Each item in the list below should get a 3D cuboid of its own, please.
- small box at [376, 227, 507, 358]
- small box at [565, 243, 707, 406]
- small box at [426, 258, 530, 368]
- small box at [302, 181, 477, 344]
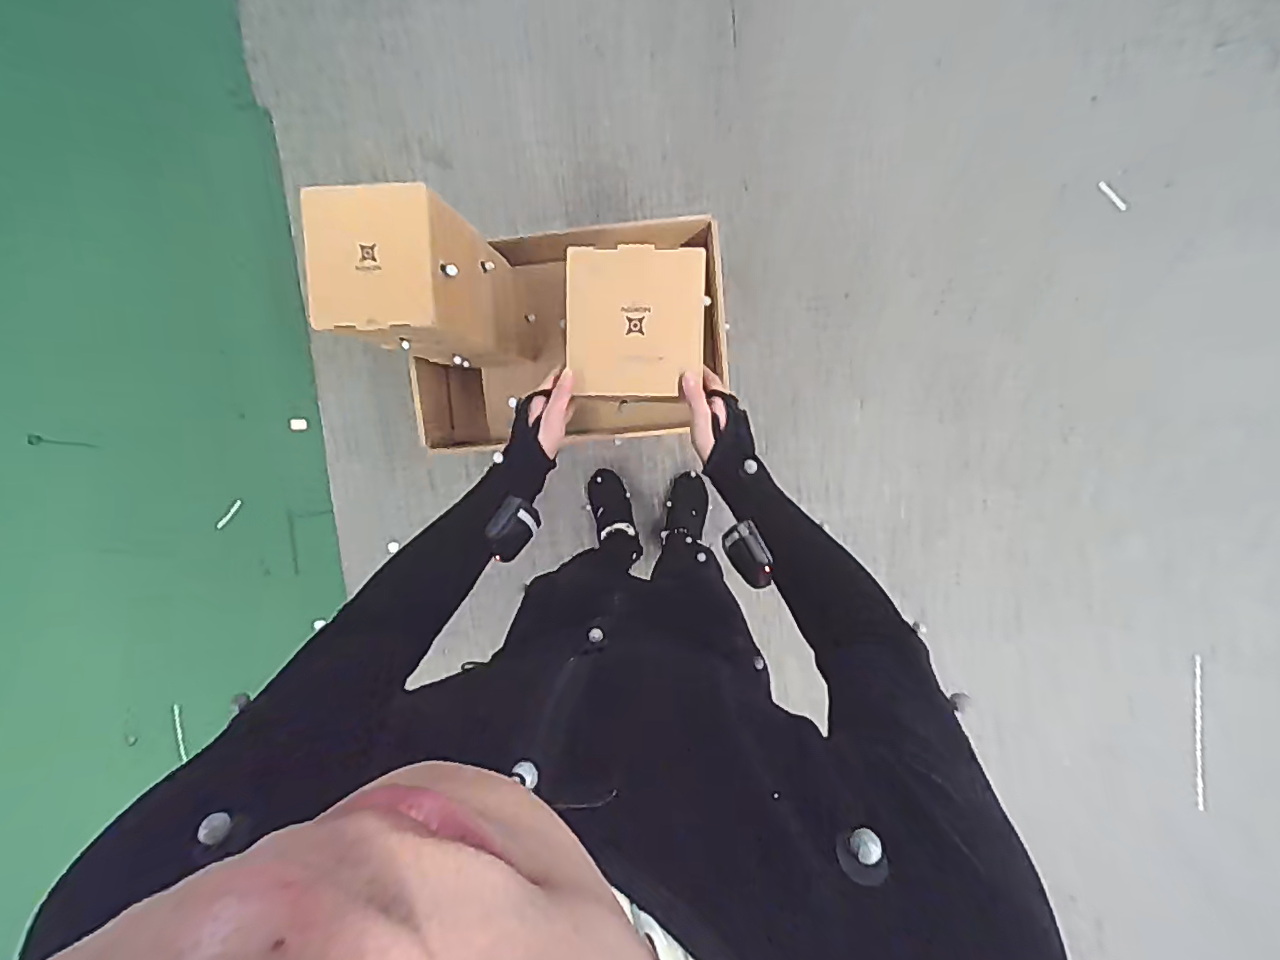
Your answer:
[{"bbox_3d":[-0.333,-0.309,0.921,0.168,0.176,0.179,-1,96,4],"label":"small box"},{"bbox_3d":[-0.007,-0.193,0.714,0.168,0.176,0.179,1,95,-1],"label":"small box"},{"bbox_3d":[-0.324,-0.327,1.084,0.168,0.176,0.179,-3,96,3],"label":"small box"},{"bbox_3d":[-0.338,-0.293,0.759,0.168,0.176,0.179,0,97,3],"label":"small box"}]
